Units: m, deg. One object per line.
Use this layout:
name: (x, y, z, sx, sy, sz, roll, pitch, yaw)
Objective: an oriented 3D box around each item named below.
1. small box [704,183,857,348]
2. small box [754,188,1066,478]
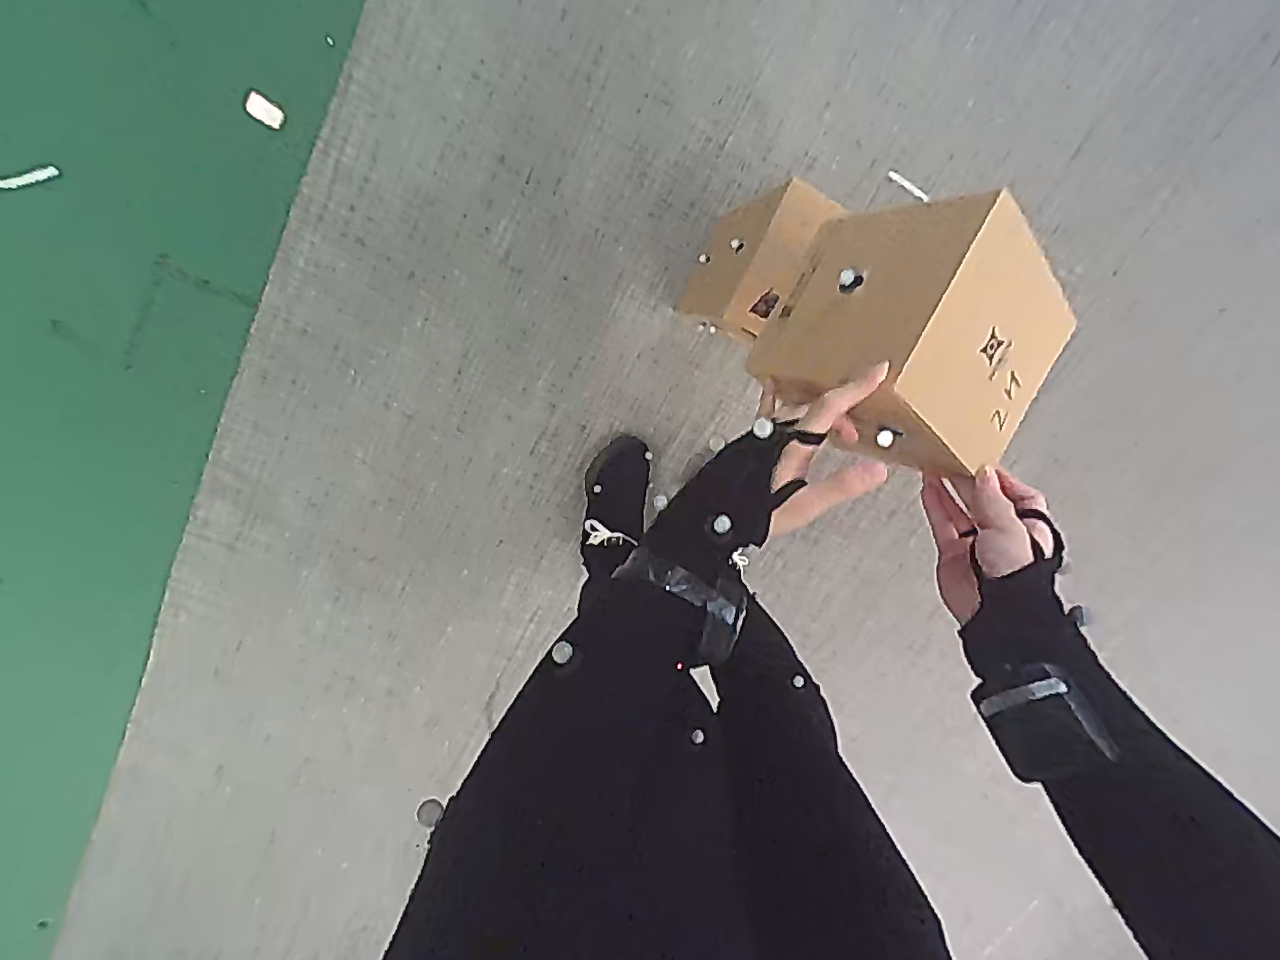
small box: (0.202, -0.264, 0.741, 0.168, 0.176, 0.179, 23, 103, -14)
small box: (0.240, -0.126, 0.501, 0.179, 0.176, 0.168, 30, 89, -34)
